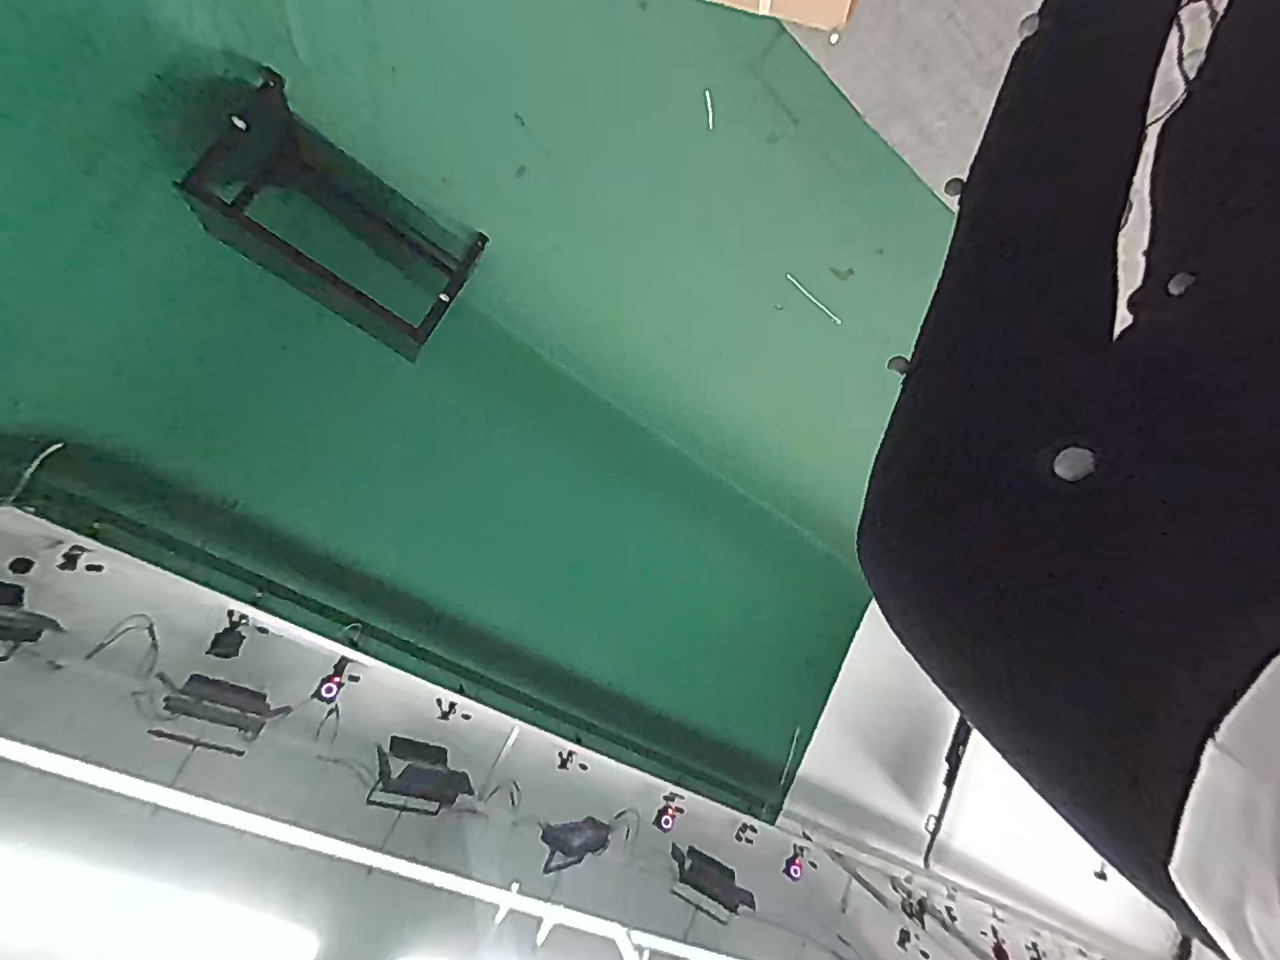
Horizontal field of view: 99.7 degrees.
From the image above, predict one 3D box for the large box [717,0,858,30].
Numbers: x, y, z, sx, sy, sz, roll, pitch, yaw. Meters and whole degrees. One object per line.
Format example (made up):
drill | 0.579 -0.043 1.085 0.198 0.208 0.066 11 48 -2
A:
large box | 0.289 -1.079 0.873 0.320 0.320 0.408 26 169 12
